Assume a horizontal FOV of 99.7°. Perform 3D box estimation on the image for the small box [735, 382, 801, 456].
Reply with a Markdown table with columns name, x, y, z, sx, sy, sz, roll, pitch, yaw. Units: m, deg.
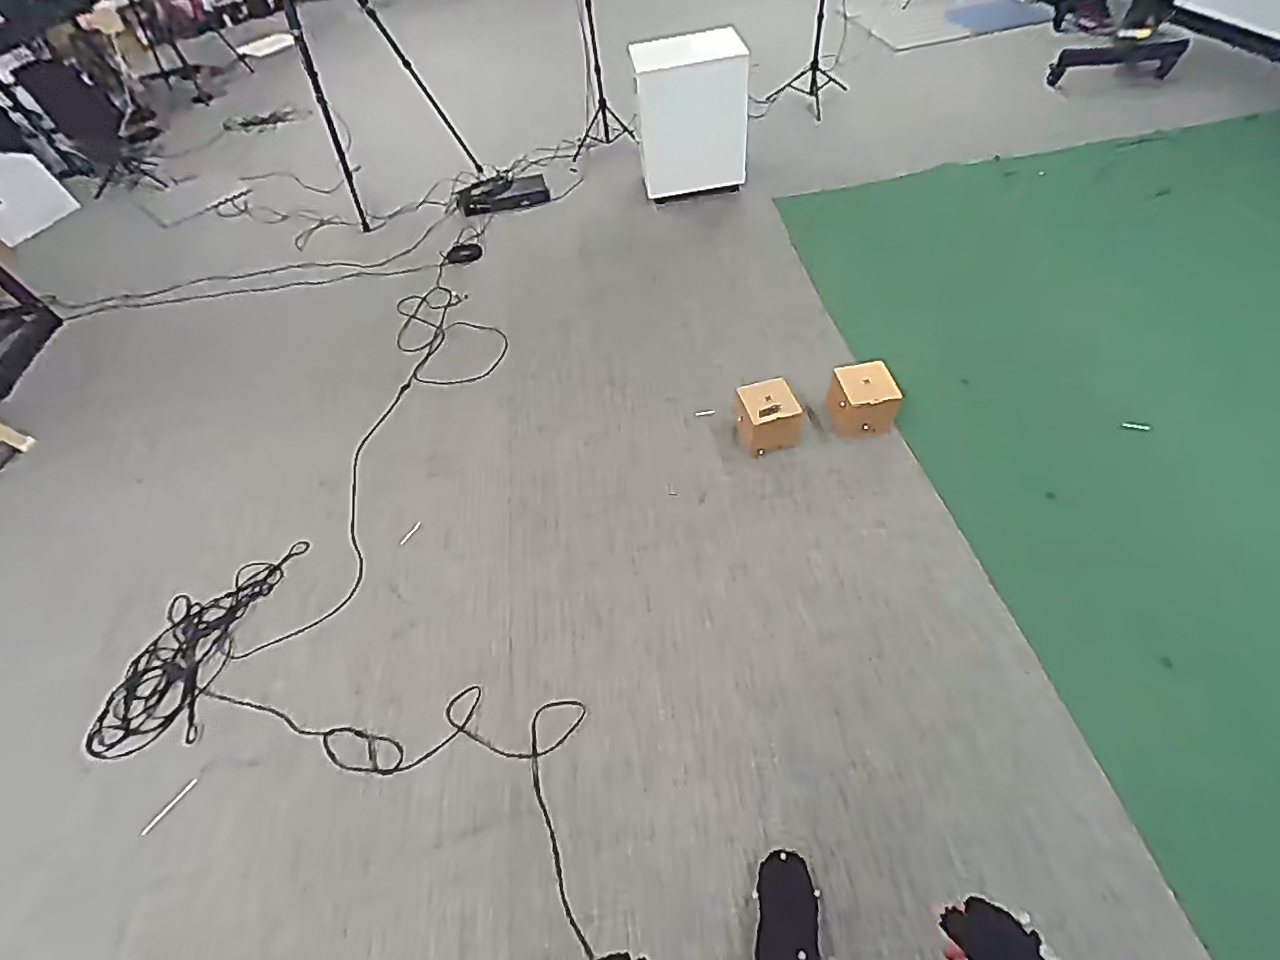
| name | x | y | z | sx | sy | sz | roll | pitch | yaw |
| --- | --- | --- | --- | --- | --- | --- | --- | --- | --- |
| small box | 0.424 | -0.197 | 1.820 | 0.168 | 0.176 | 0.179 | -13 | 52 | -3 |

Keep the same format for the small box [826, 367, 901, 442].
| name | x | y | z | sx | sy | sz | roll | pitch | yaw |
| --- | --- | --- | --- | --- | --- | --- | --- | --- | --- |
| small box | 0.743 | -0.253 | 1.823 | 0.168 | 0.176 | 0.179 | -9 | 53 | 1 |
